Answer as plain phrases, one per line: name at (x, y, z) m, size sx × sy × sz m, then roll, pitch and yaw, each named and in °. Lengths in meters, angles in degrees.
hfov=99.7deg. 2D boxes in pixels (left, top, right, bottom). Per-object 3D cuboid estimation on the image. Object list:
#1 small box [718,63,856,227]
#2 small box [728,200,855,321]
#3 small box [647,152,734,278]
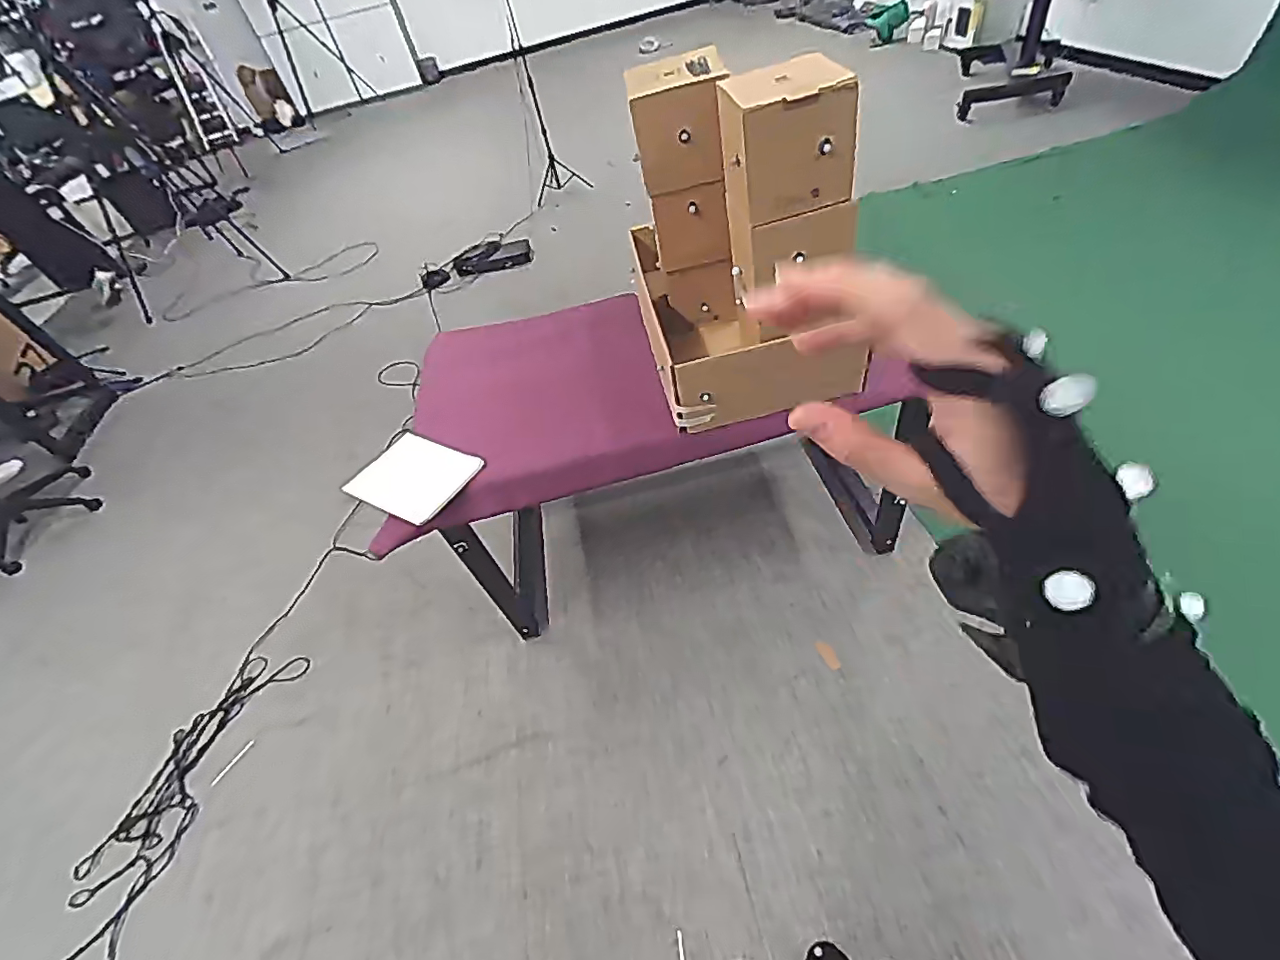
small box at (0.230, -0.527, 0.865) m, size 0.168 × 0.176 × 0.179 m, roll -13°, pitch 46°, yaw 5°
small box at (0.268, -0.416, 0.979) m, size 0.179 × 0.176 × 0.168 m, roll -14°, pitch 46°, yaw 5°
small box at (0.118, -0.561, 1.155) m, size 0.179 × 0.176 × 0.168 m, roll -10°, pitch 50°, yaw 7°
